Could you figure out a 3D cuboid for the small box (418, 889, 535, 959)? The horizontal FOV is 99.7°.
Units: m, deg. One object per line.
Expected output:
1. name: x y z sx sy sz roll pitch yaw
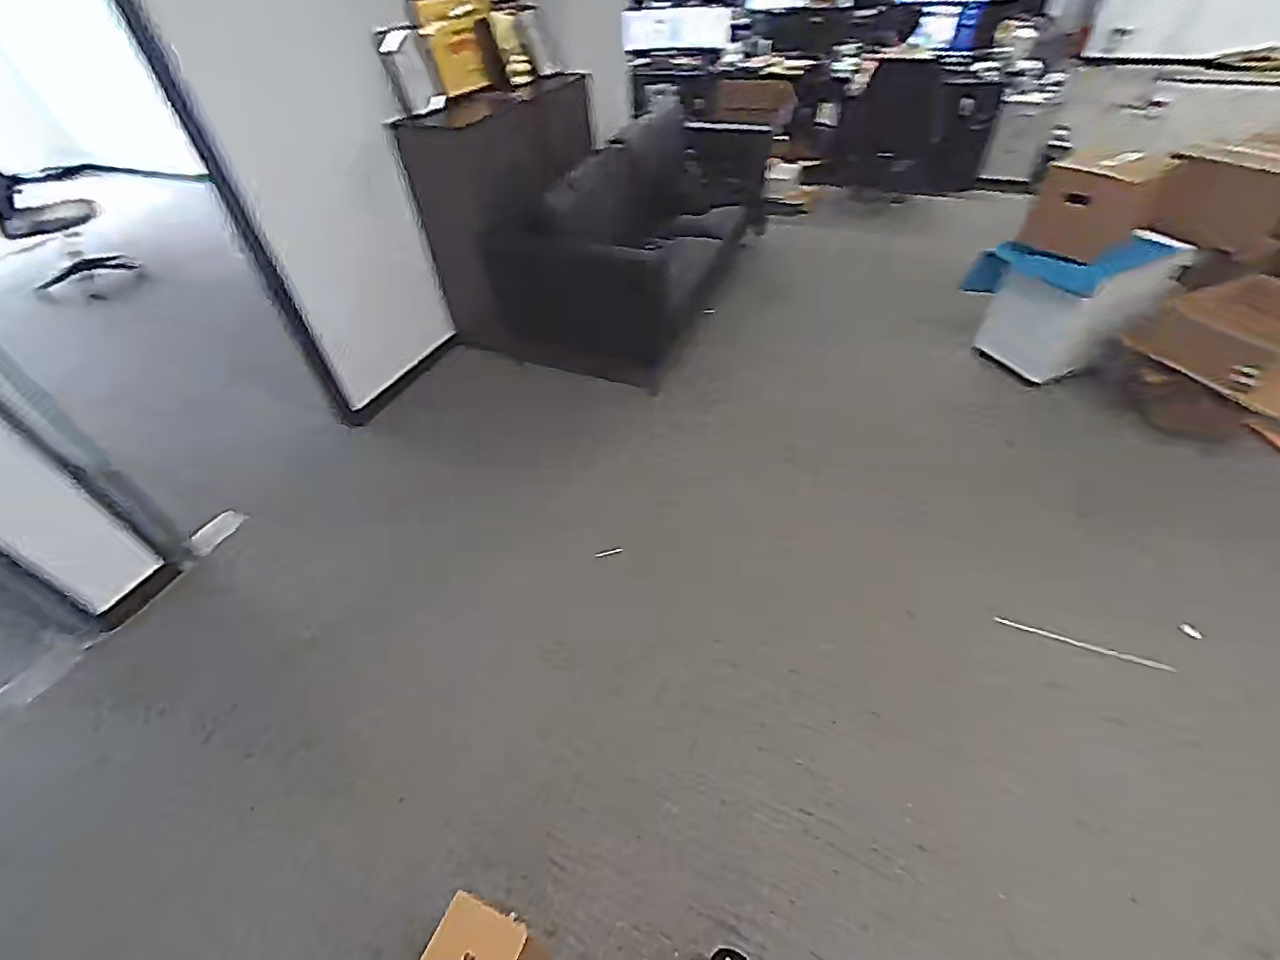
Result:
1. small box: -0.317 0.936 1.038 0.168 0.176 0.179 15 48 18
